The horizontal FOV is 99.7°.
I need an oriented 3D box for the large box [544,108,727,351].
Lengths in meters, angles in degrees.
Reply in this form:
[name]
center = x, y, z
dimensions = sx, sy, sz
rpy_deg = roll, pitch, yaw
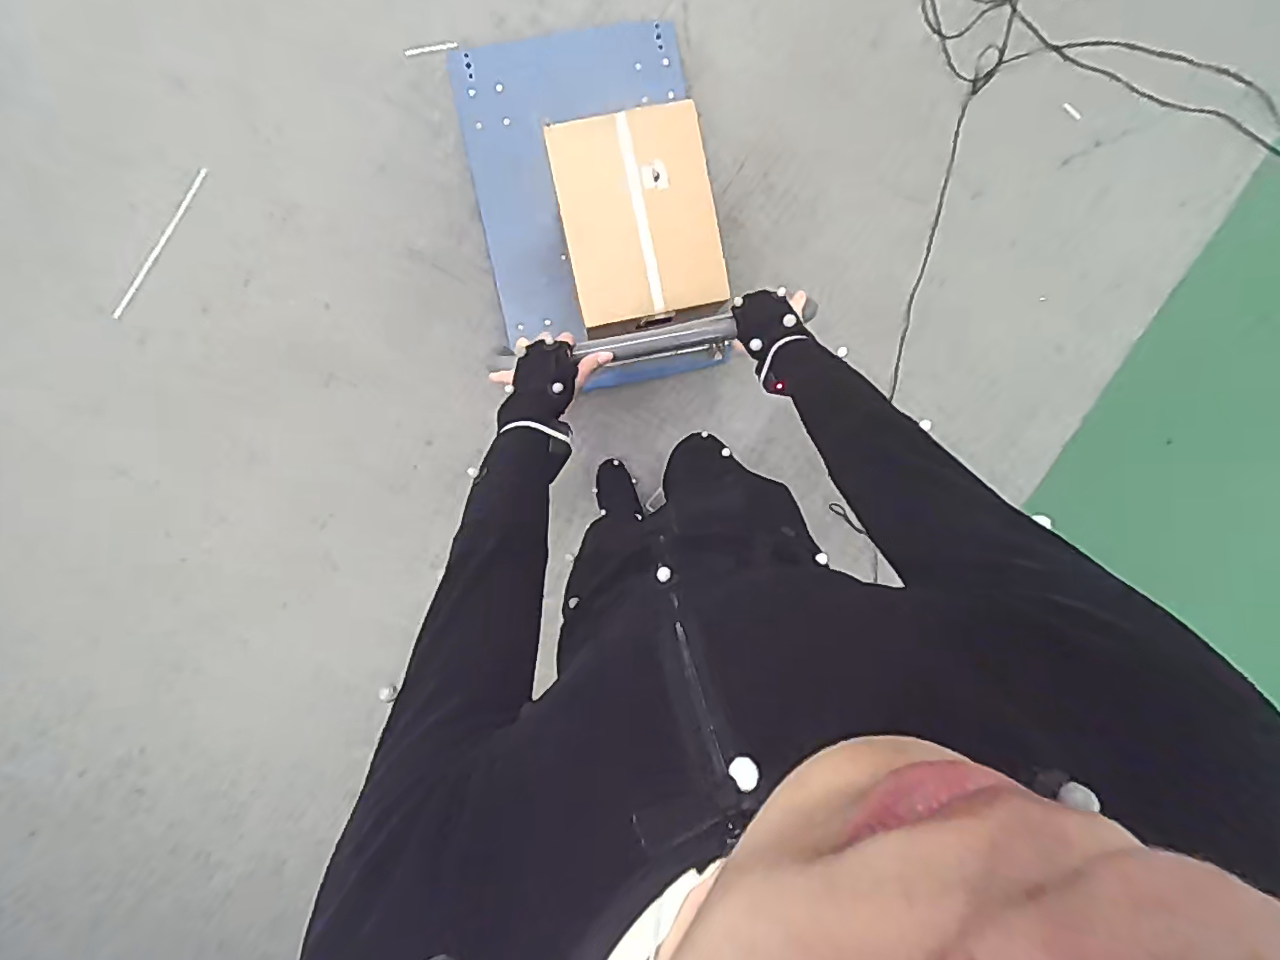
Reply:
[large box]
center = -0.014, -0.553, 1.271
dimensions = 0.320, 0.320, 0.408
rpy_deg = -12, 94, -4
